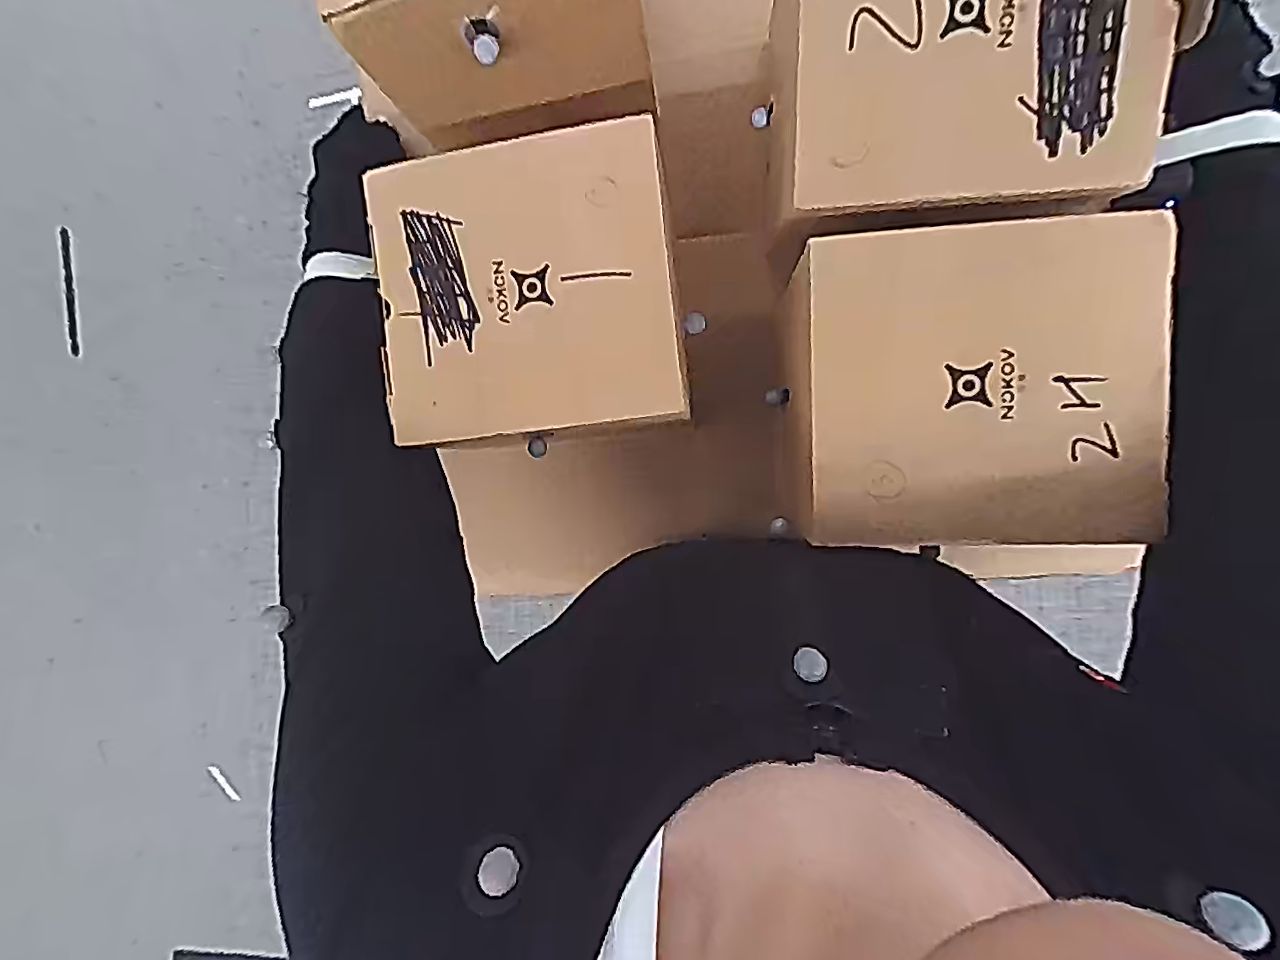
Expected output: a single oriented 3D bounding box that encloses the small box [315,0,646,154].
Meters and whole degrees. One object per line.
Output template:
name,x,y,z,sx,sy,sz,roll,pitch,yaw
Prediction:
small box,-0.096,-0.358,0.357,0.179,0.176,0.168,-10,91,9
